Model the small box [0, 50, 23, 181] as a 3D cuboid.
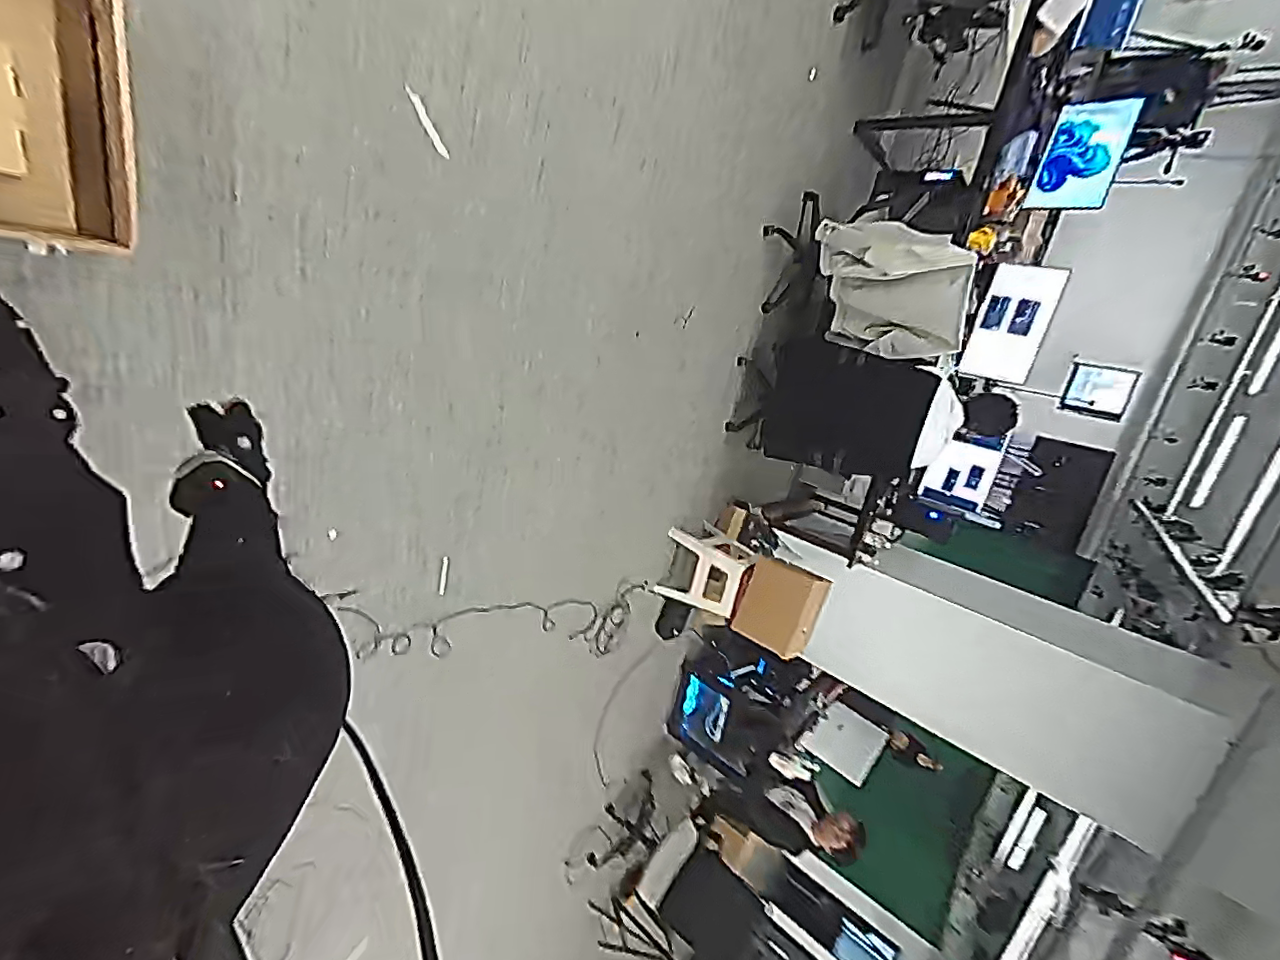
[{"bbox_3d":[-0.995,-0.528,0.743,0.179,0.176,0.168,-8,113,-49],"label":"small box"}]
